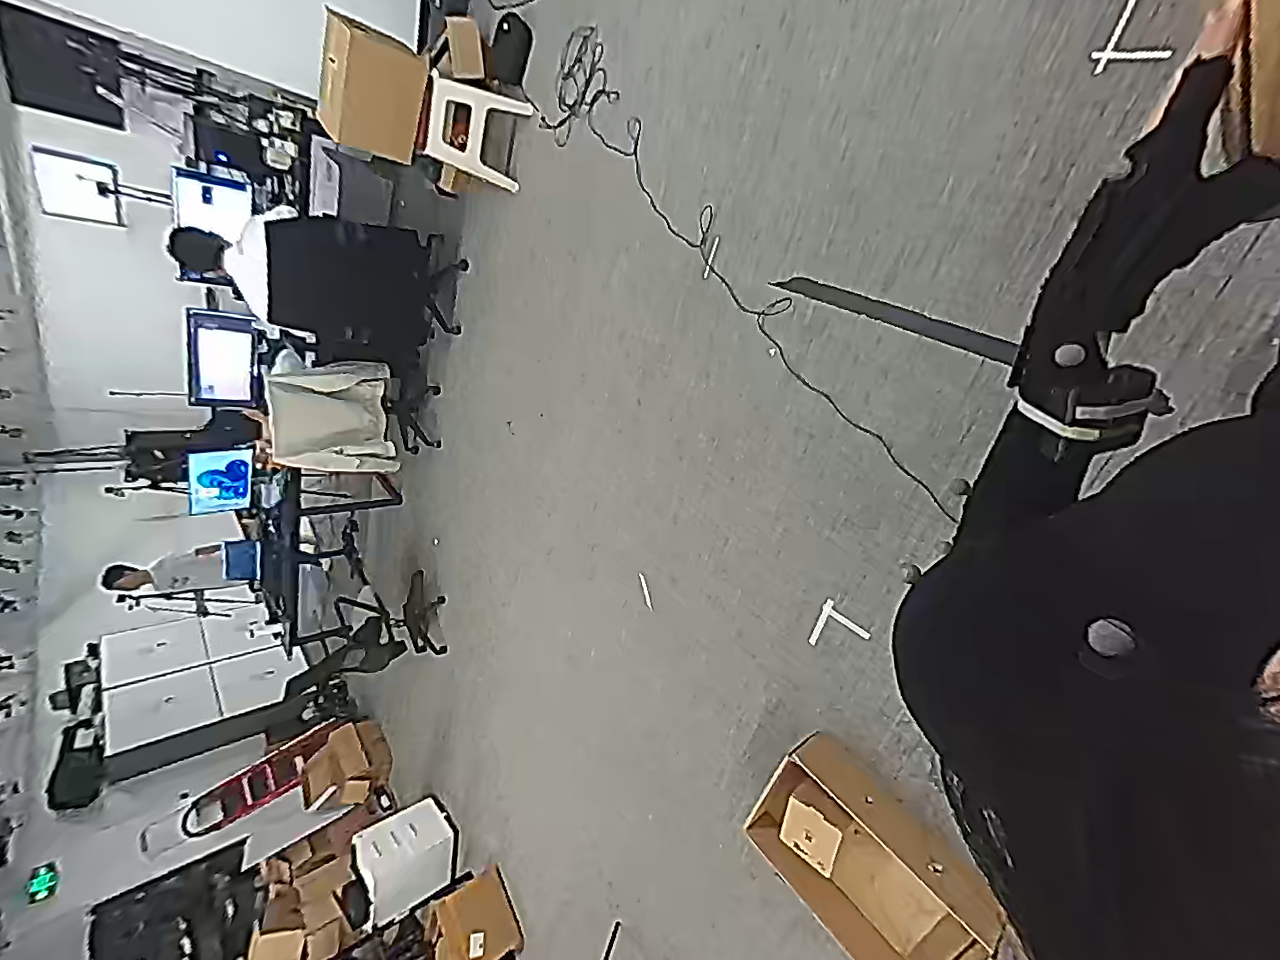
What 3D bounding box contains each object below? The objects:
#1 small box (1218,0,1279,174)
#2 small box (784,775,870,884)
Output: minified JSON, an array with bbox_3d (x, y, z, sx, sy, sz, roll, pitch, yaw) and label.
[{"bbox_3d":[0.388,-0.279,0.236,0.168,0.176,0.179,-7,60,41],"label":"small box"},{"bbox_3d":[0.558,1.023,1.602,0.168,0.176,0.179,23,112,42],"label":"small box"}]
